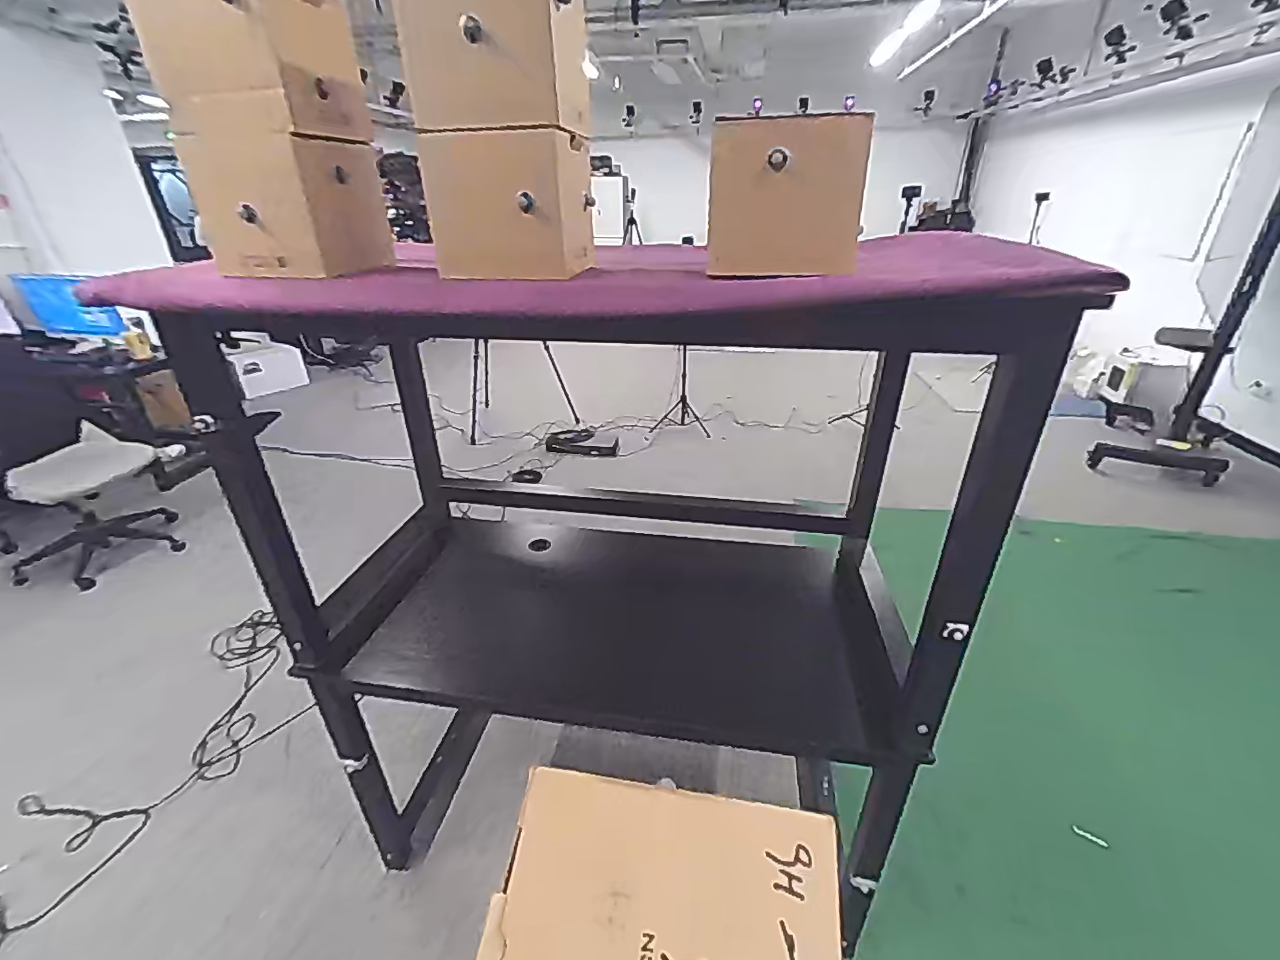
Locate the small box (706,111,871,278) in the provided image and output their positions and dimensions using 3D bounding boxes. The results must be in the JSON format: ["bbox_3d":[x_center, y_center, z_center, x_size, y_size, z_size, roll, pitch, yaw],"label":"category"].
[{"bbox_3d":[0.179,-0.353,0.693,0.179,0.176,0.168,4,26,10],"label":"small box"}]

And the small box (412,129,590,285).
[{"bbox_3d":[-0.169,-0.363,0.726,0.179,0.176,0.168,3,27,8],"label":"small box"}]

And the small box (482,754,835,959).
[{"bbox_3d":[0.009,0.283,0.334,0.179,0.176,0.168,8,58,4],"label":"small box"}]

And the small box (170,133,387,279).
[{"bbox_3d":[-0.487,-0.384,0.765,0.168,0.176,0.179,5,28,7],"label":"small box"}]

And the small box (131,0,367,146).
[{"bbox_3d":[-0.486,-0.527,0.688,0.179,0.176,0.168,4,29,6],"label":"small box"}]
